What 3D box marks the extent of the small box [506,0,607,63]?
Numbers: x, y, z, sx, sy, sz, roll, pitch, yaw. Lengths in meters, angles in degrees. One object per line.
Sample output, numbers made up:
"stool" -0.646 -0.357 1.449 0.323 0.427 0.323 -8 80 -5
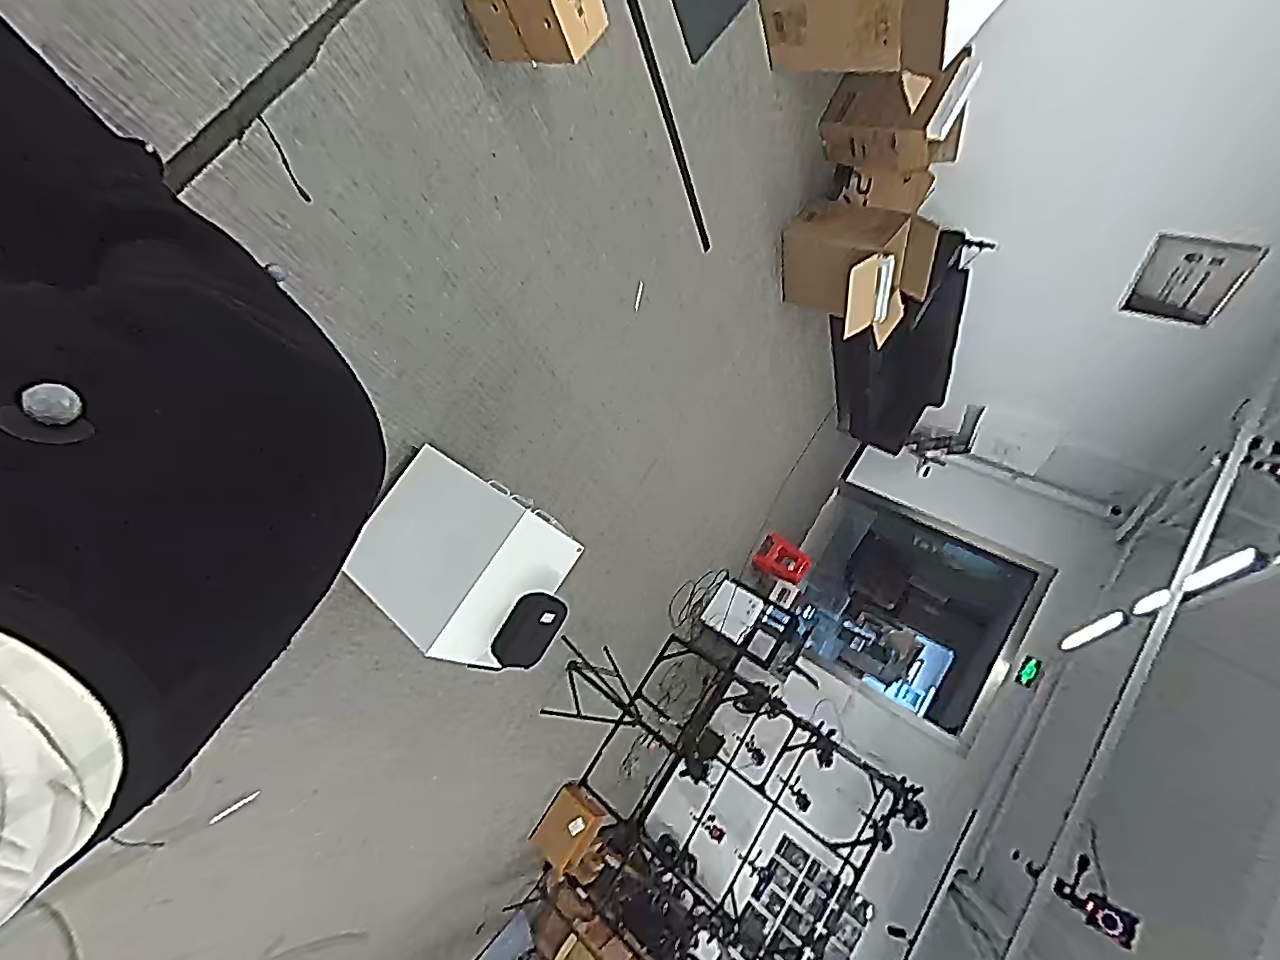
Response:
"small box" -0.222 -1.239 1.423 0.168 0.176 0.179 -56 150 -11
